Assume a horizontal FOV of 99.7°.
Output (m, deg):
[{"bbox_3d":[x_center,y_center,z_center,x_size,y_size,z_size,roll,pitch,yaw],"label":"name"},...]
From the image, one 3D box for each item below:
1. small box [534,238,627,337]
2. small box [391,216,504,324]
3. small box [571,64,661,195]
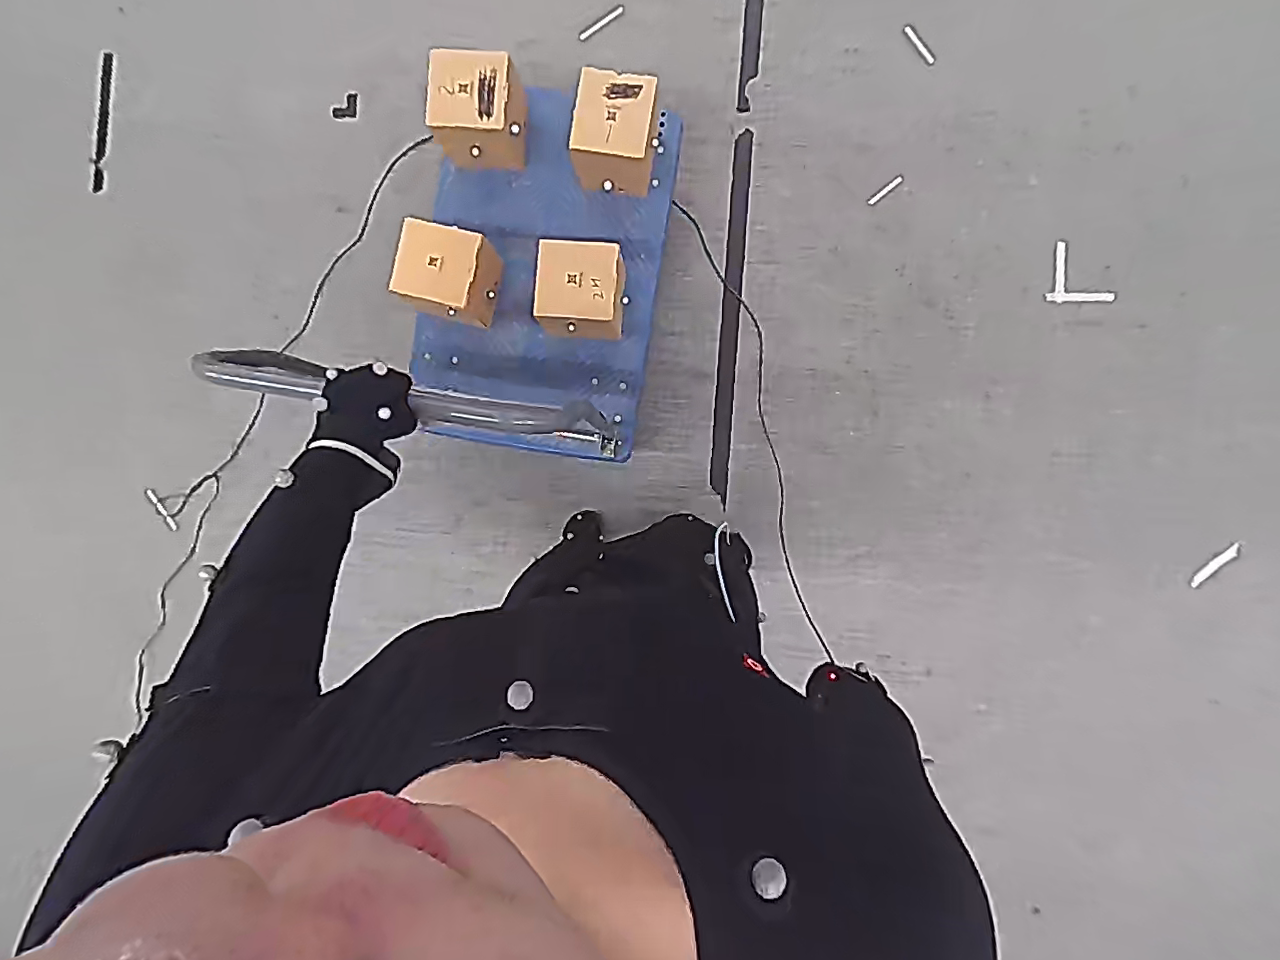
[{"bbox_3d":[-0.128,-0.430,1.230,0.179,0.176,0.168,5,91,3],"label":"small box"},{"bbox_3d":[-0.435,-0.474,1.246,0.179,0.176,0.168,13,91,1],"label":"small box"},{"bbox_3d":[-0.049,-0.783,1.222,0.168,0.176,0.179,10,92,3],"label":"small box"}]
